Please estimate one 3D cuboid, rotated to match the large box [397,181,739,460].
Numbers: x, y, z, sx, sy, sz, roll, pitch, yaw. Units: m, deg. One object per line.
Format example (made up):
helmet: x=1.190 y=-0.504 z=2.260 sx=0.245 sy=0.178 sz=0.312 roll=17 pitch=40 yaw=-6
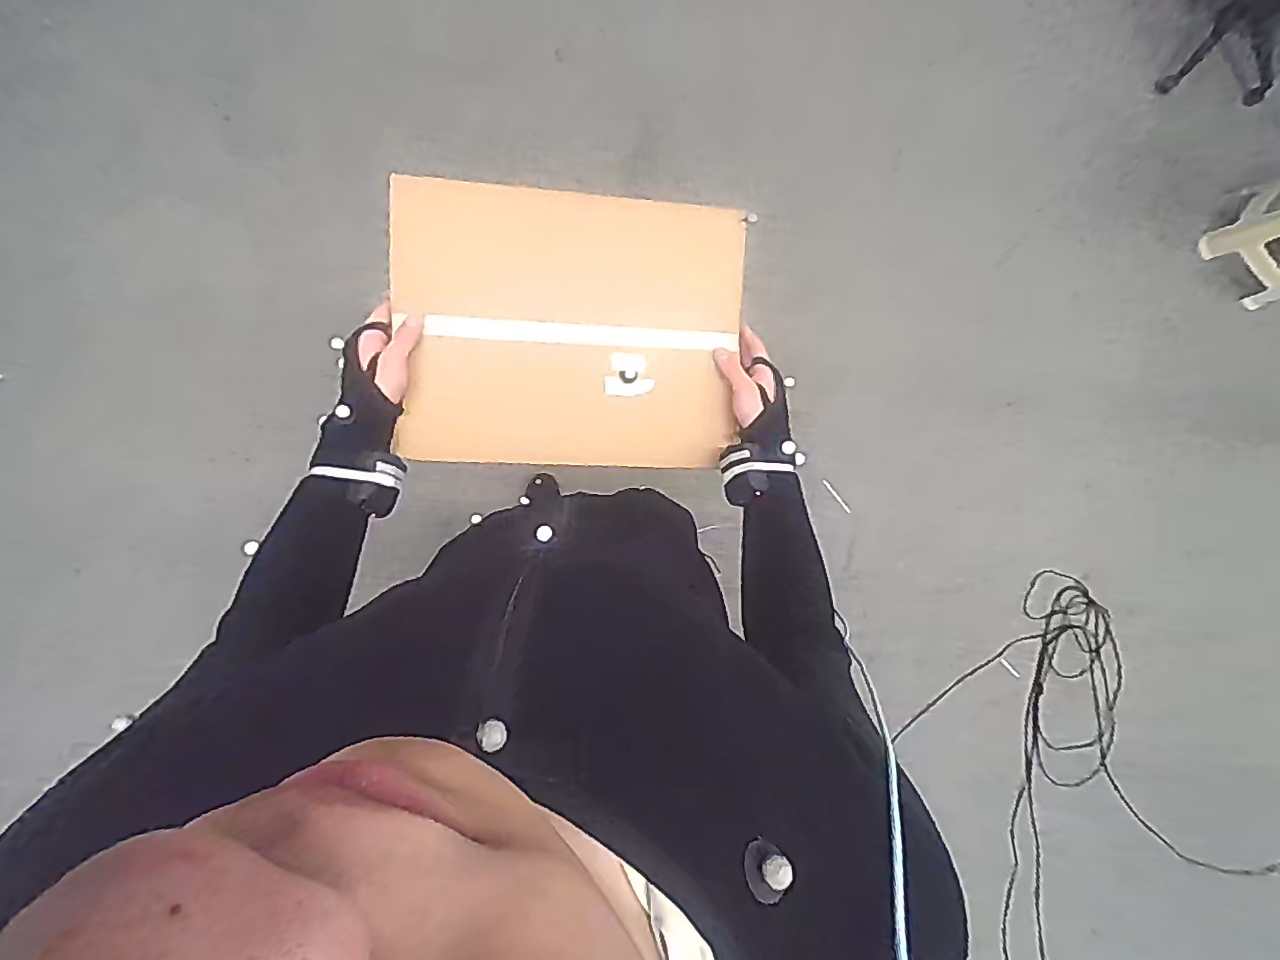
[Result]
large box: x=-0.104 y=-0.197 z=0.792 sx=0.408 sy=0.320 sz=0.320 roll=1 pitch=98 yaw=-10
